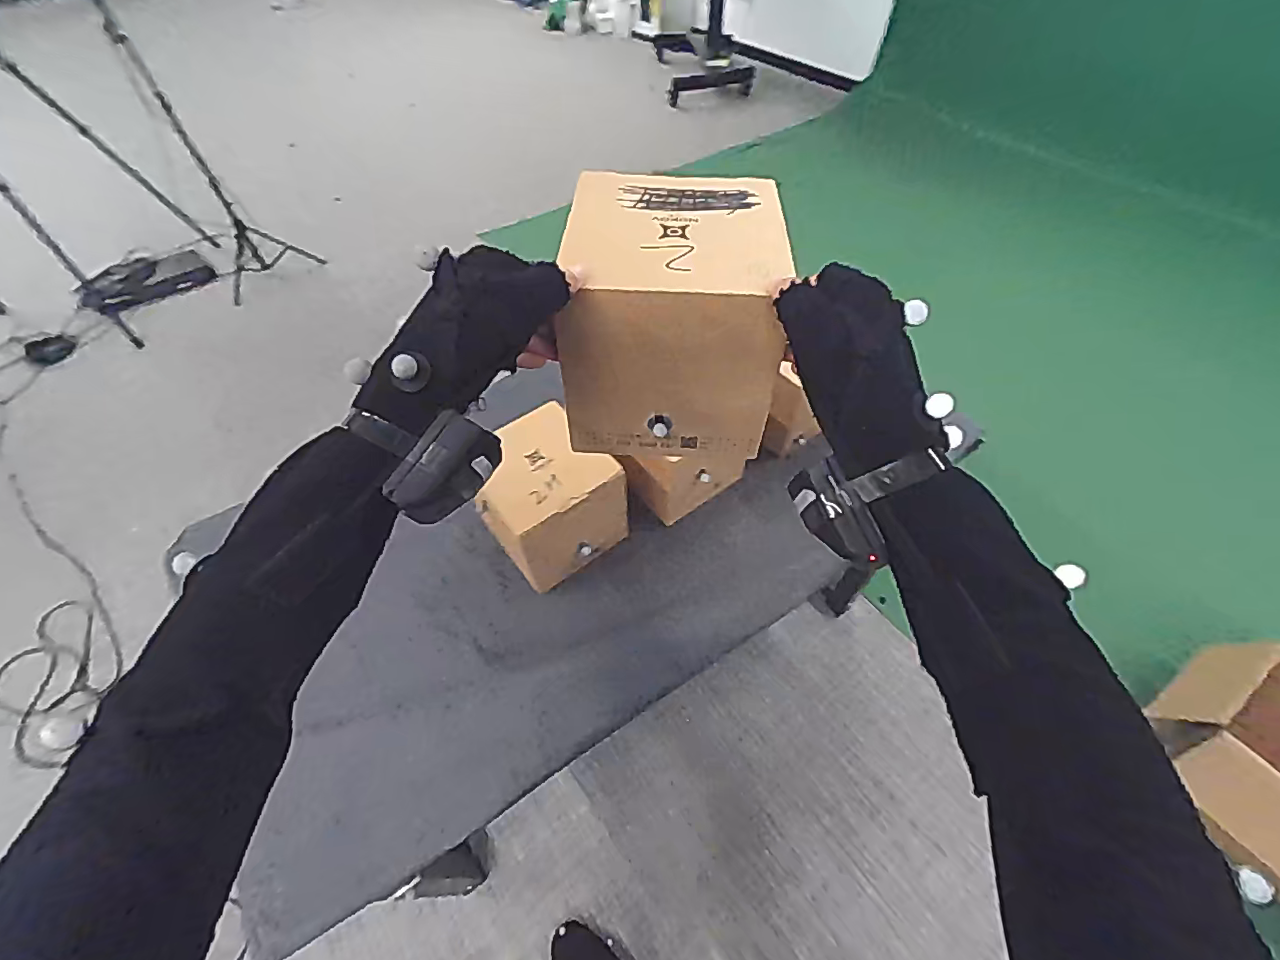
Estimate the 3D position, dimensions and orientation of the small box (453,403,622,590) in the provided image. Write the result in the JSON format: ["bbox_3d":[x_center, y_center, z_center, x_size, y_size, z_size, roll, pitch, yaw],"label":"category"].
[{"bbox_3d":[-0.142,0.026,0.788,0.168,0.176,0.179,-33,59,-22],"label":"small box"}]

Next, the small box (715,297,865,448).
[{"bbox_3d":[0.247,-0.179,0.938,0.168,0.176,0.179,-32,58,-22],"label":"small box"}]

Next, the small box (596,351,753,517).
[{"bbox_3d":[0.052,-0.065,0.857,0.168,0.176,0.179,-32,58,-21],"label":"small box"}]
